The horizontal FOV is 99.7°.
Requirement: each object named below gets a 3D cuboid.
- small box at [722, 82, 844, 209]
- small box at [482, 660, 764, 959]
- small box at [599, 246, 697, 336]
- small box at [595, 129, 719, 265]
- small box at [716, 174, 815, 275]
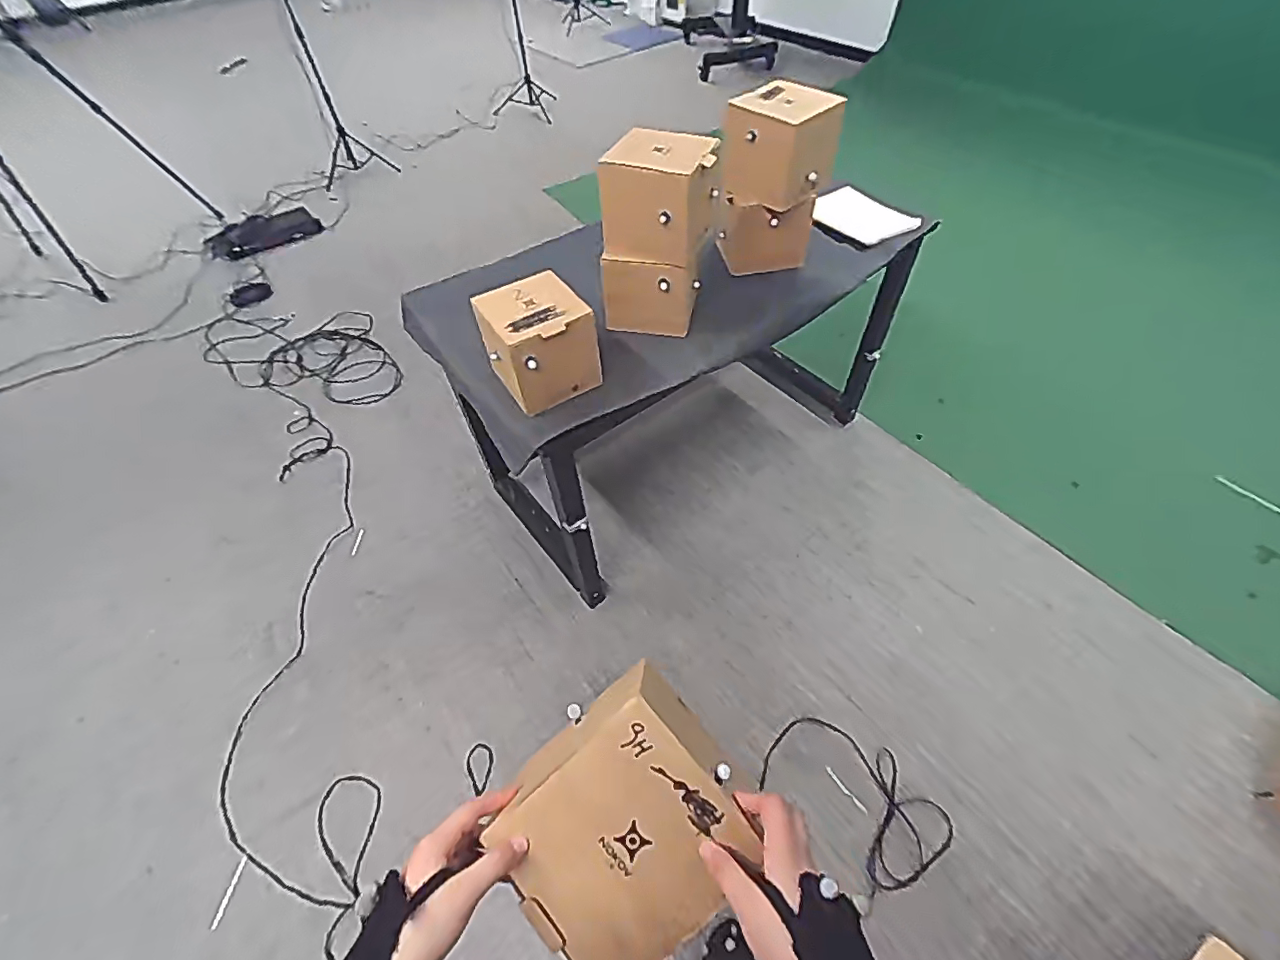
[{"bbox_3d":[0.289,-0.700,1.136,0.168,0.176,0.179,-38,60,-22],"label":"small box"},{"bbox_3d":[-0.010,0.302,0.515,0.179,0.176,0.168,-42,83,-3],"label":"small box"},{"bbox_3d":[0.024,-0.426,1.146,0.179,0.176,0.168,8,52,9],"label":"small box"},{"bbox_3d":[0.035,-0.529,1.019,0.179,0.176,0.168,17,54,16],"label":"small box"},{"bbox_3d":[0.285,-0.608,1.273,0.179,0.176,0.168,-9,52,-3],"label":"small box"}]
